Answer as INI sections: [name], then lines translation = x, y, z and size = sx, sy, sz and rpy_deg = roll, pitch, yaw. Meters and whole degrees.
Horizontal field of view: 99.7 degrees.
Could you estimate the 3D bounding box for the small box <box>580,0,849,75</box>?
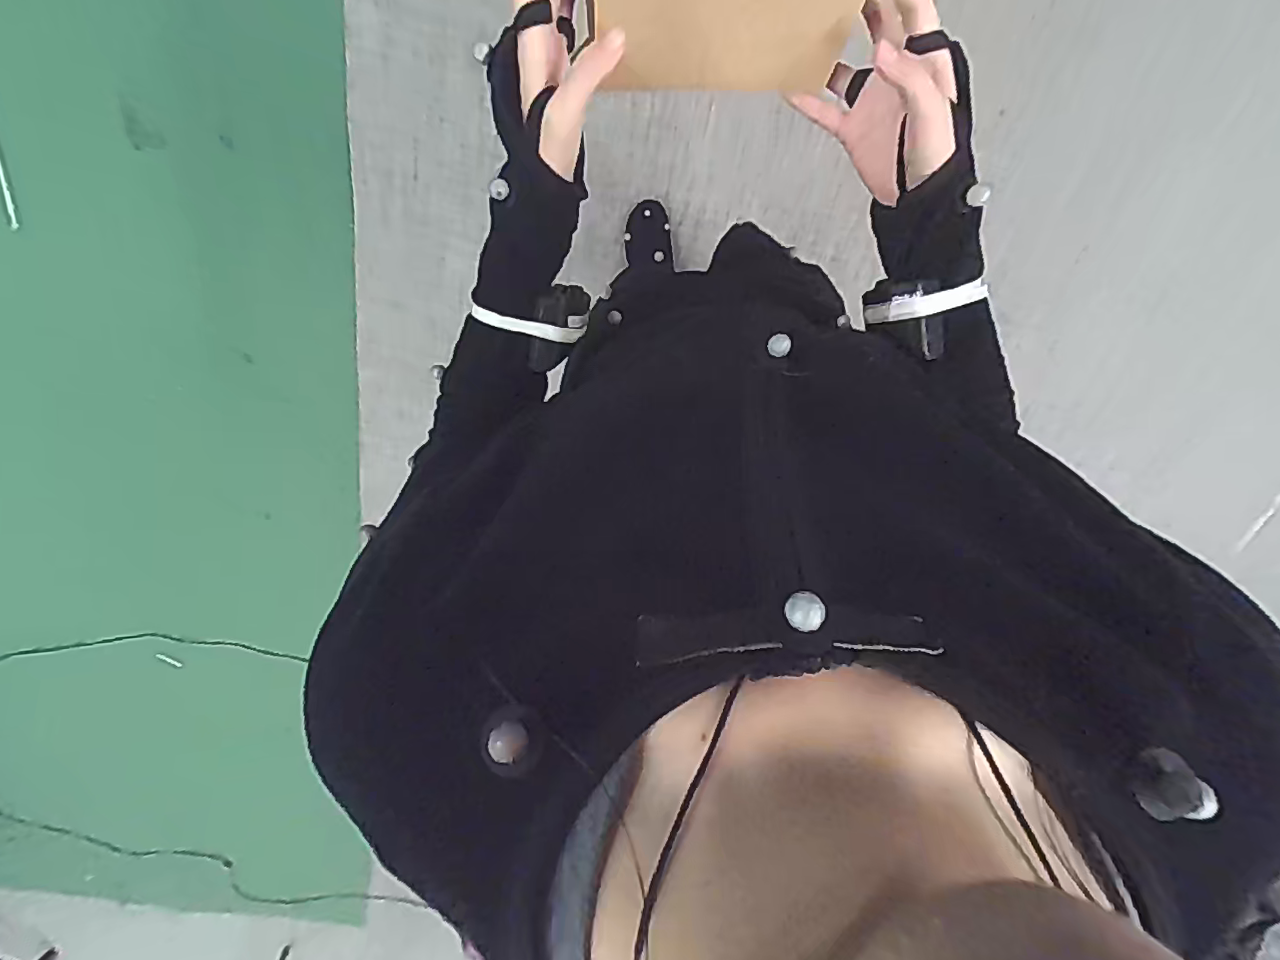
[small box]
translation = 0.046, -0.377, 0.303
size = 0.168, 0.179, 0.176
rpy_deg = -3, 79, -5
